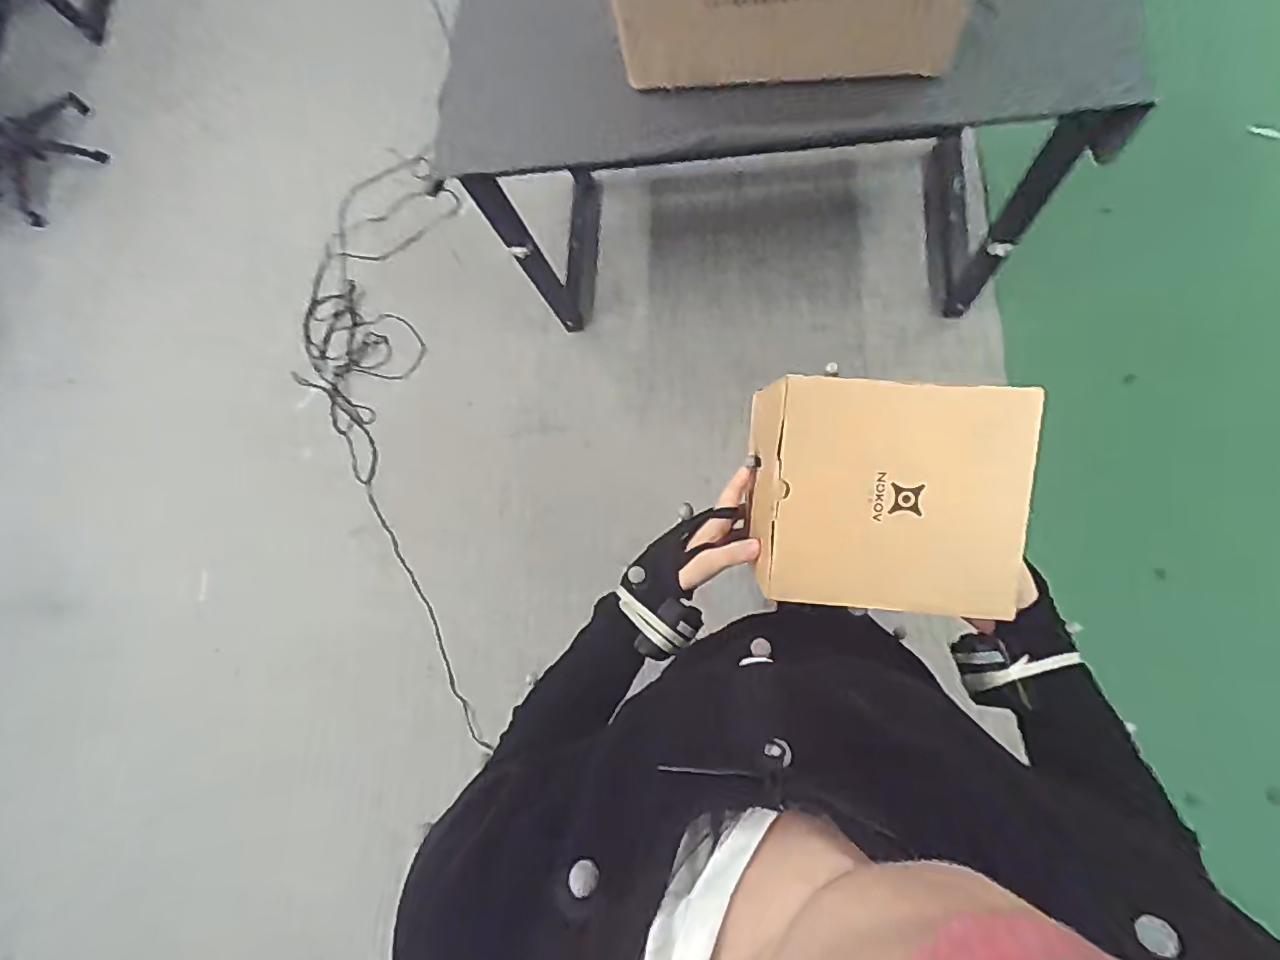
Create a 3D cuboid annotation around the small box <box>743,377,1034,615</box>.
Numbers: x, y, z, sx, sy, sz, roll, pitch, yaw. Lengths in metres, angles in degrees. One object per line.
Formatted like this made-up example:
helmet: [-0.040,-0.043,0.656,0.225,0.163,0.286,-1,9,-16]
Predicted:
small box: [0.190,0.005,0.468,0.179,0.176,0.168,3,95,5]
